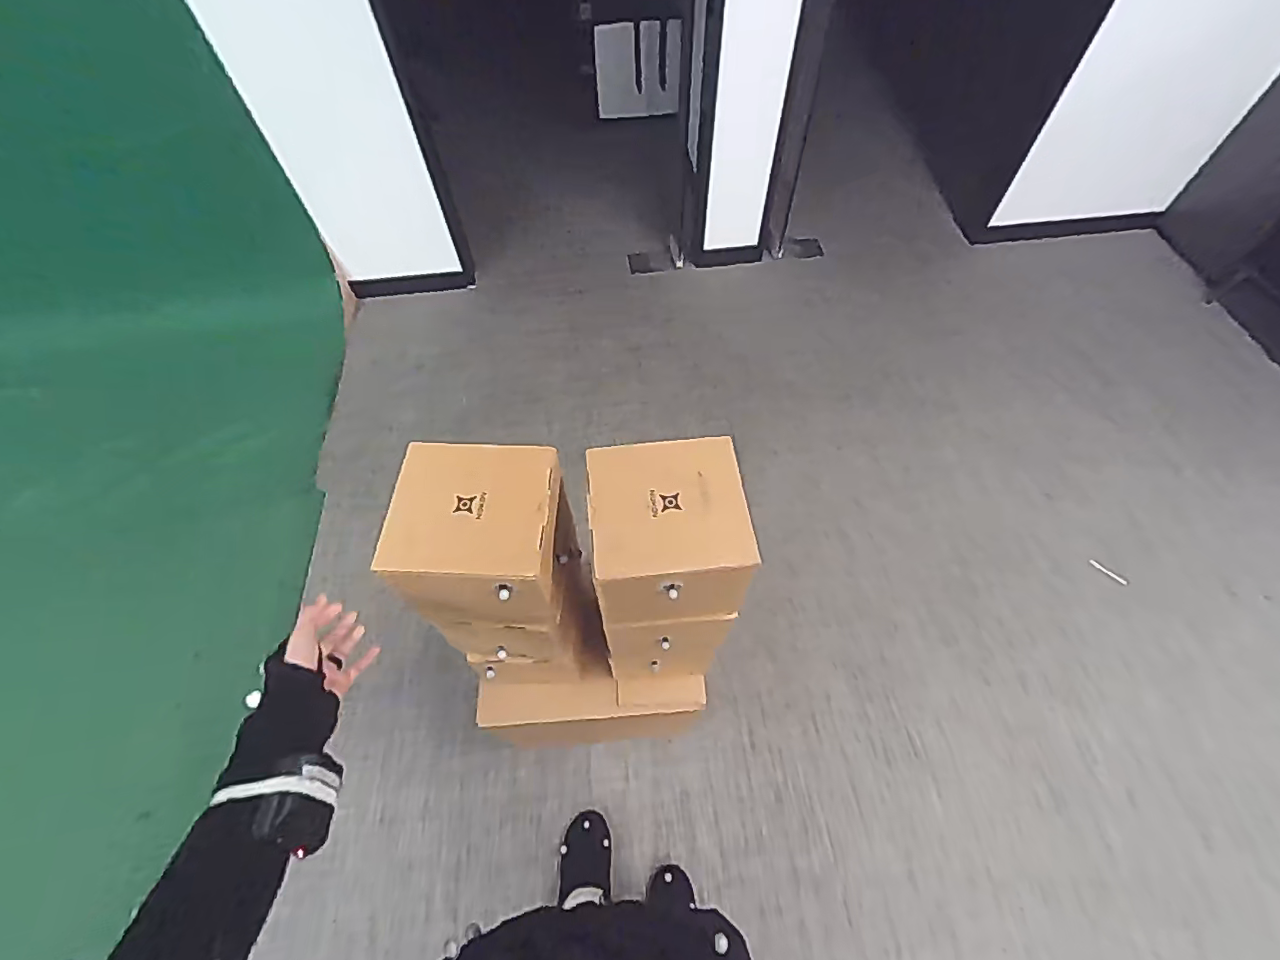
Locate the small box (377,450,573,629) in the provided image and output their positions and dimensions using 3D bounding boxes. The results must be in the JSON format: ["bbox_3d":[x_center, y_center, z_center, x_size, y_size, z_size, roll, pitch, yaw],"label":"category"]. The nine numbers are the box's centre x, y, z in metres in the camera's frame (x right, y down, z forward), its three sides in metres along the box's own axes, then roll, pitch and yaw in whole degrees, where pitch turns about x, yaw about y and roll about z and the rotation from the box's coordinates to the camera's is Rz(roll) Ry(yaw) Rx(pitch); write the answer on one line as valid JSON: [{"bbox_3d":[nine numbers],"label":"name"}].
[{"bbox_3d":[-0.186,0.079,0.670,0.179,0.176,0.168,2,58,1],"label":"small box"}]

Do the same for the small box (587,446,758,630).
[{"bbox_3d":[0.033,0.077,0.665,0.179,0.176,0.168,-5,58,-2],"label":"small box"}]
